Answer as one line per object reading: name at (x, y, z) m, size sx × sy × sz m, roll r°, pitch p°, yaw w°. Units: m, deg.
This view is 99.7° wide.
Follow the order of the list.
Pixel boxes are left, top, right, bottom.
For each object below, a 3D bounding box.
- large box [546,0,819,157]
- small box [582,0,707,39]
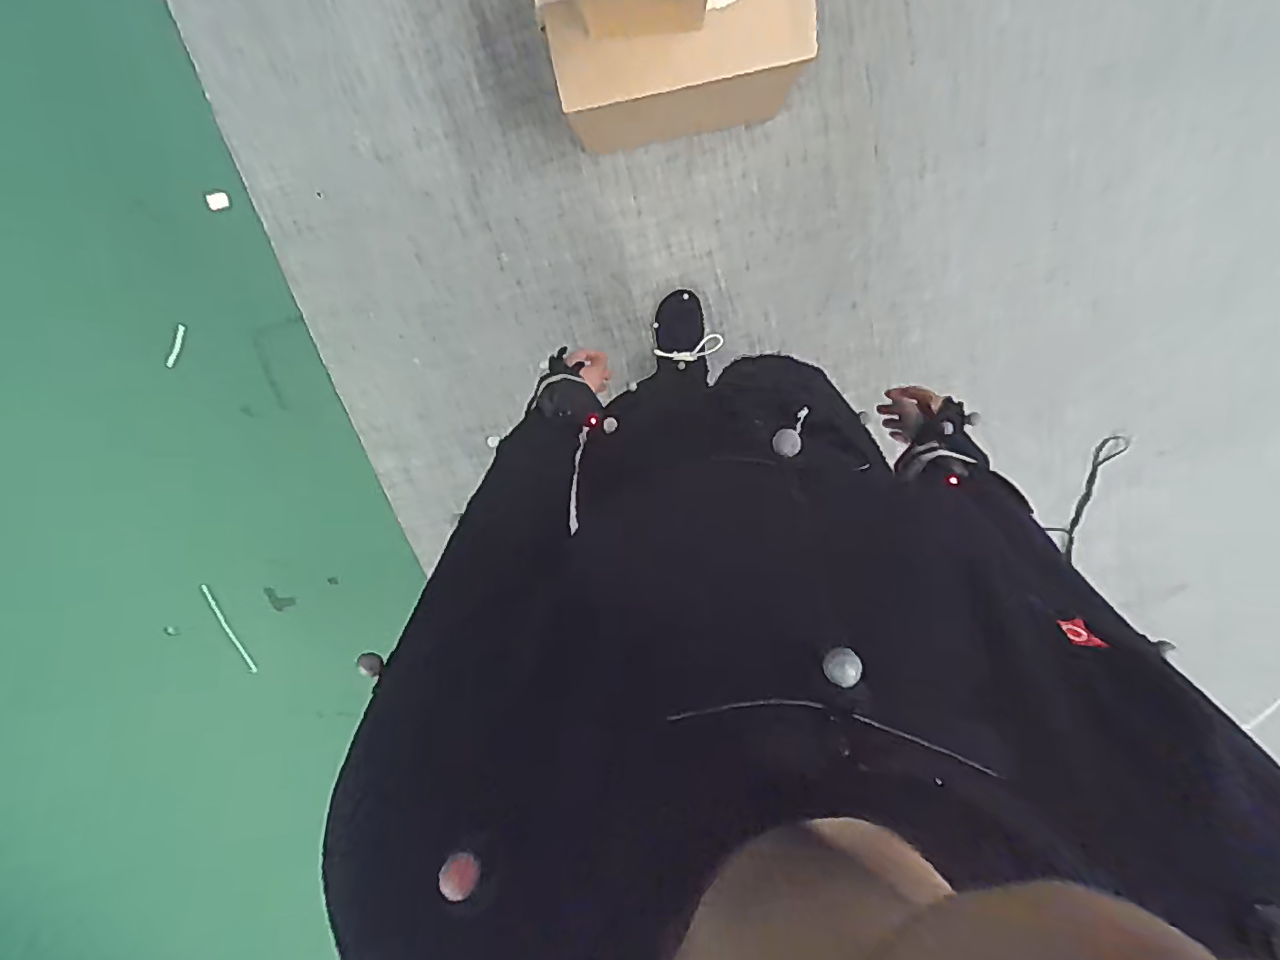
large box at (0.053, -0.805, 0.936) m, size 0.408 × 0.320 × 0.320 m, roll -10°, pitch 110°, yaw 4°
small box at (0.002, -0.718, 0.711) m, size 0.179 × 0.176 × 0.168 m, roll -4°, pitch 109°, yaw 3°
